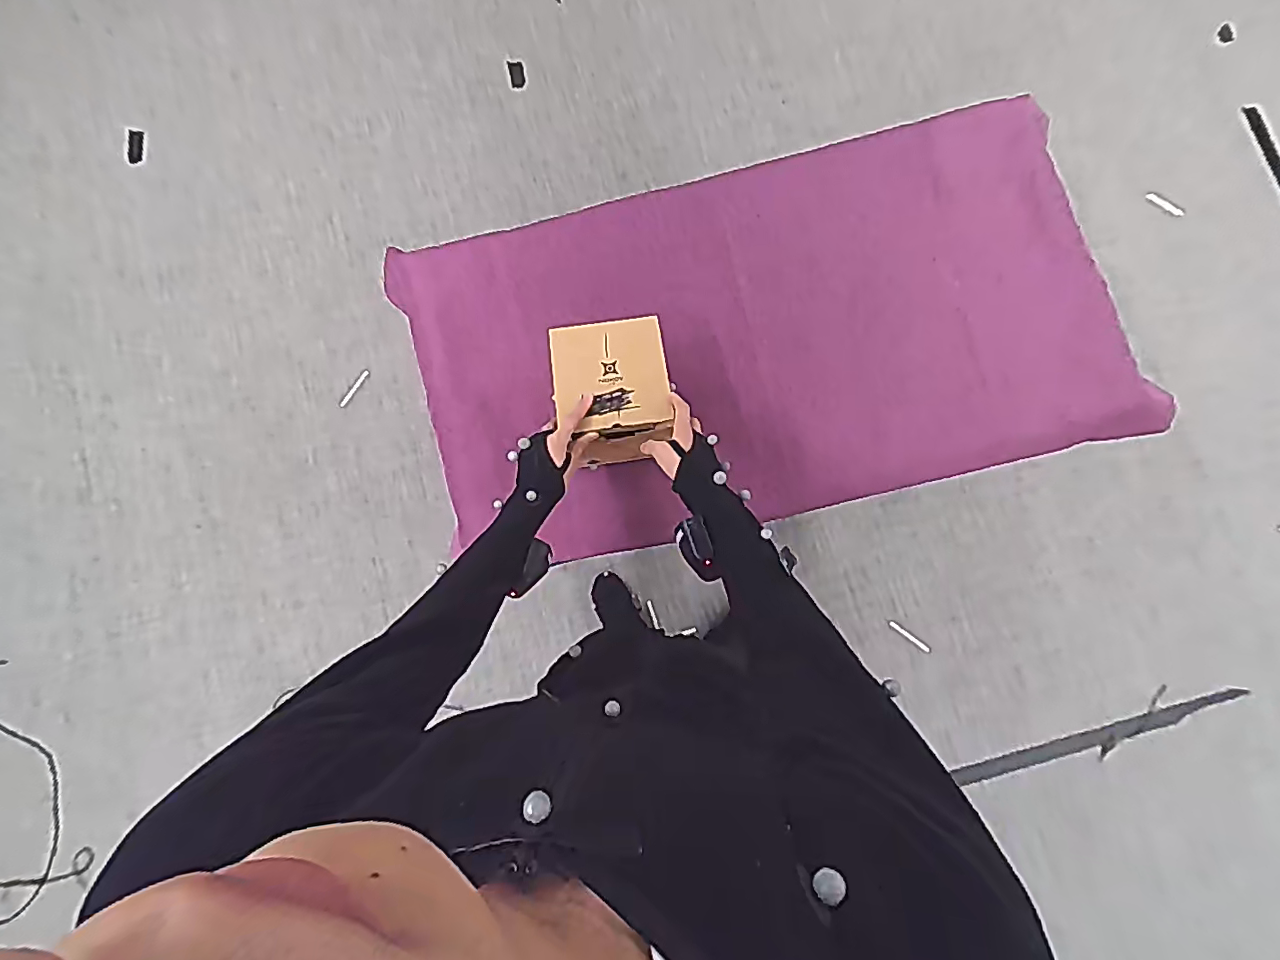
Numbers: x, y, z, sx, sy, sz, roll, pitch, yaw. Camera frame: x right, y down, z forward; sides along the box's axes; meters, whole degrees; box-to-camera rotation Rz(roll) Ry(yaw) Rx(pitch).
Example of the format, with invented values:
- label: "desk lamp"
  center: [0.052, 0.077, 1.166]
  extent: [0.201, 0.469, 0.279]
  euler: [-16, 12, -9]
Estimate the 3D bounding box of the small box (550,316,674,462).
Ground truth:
- label: "small box"
  center: [-0.040, -0.132, 0.854]
  extent: [0.168, 0.176, 0.179]
  euler: [-8, 78, -2]
